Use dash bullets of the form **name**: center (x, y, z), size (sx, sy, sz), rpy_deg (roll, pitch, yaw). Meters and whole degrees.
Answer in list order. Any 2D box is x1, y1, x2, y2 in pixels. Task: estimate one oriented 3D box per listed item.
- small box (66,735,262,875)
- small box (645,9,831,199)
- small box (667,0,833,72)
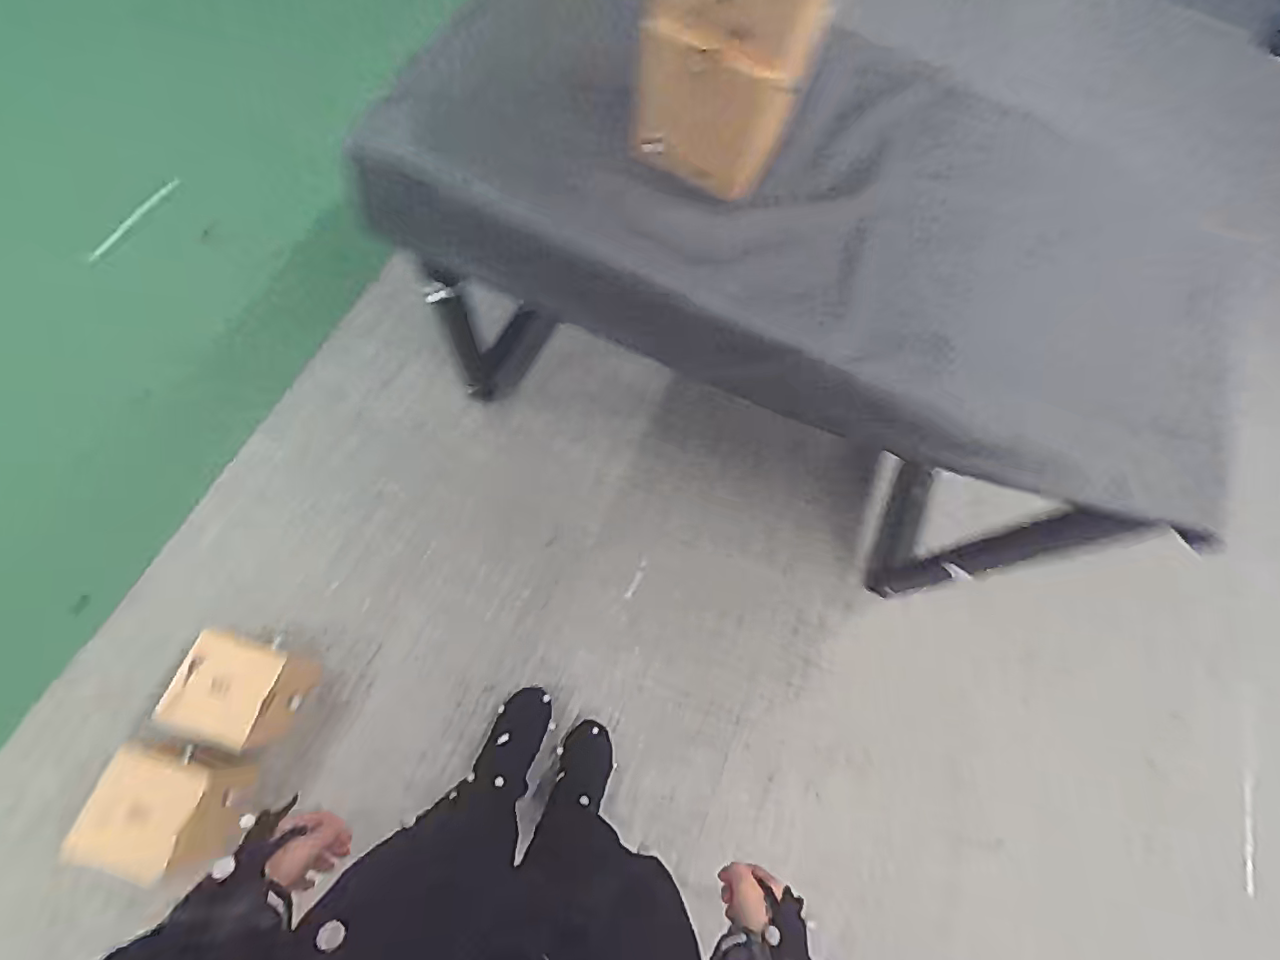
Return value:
- **small box**: center (-0.854, 0.584, 0.997), size (0.179, 0.176, 0.168), rpy_deg (18, 68, 1)
- **small box**: center (0.117, -0.518, 0.717), size (0.168, 0.176, 0.179), rpy_deg (29, 69, 4)
- **small box**: center (0.140, -0.588, 0.569), size (0.168, 0.176, 0.179), rpy_deg (27, 70, 4)
